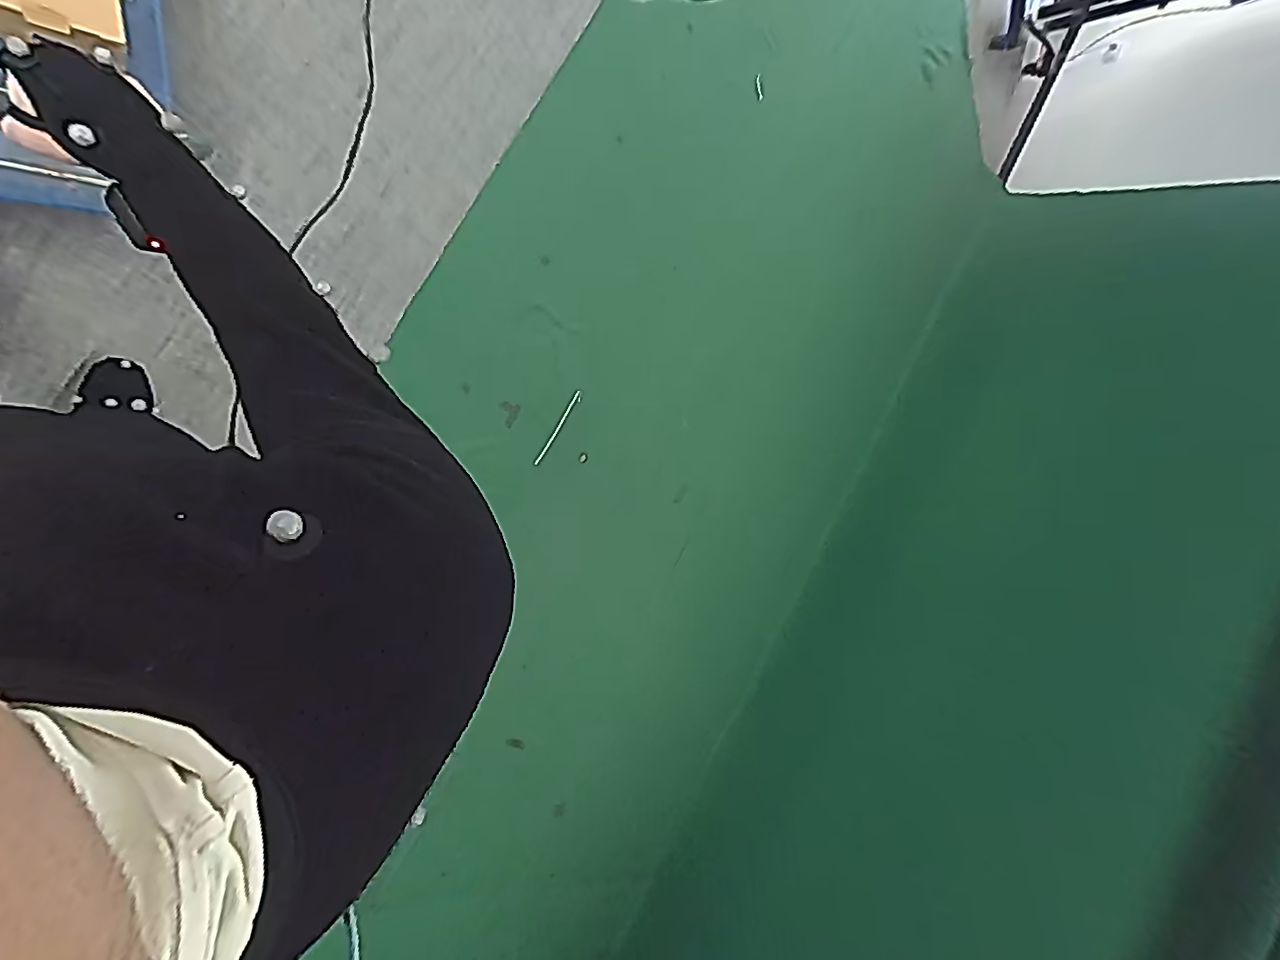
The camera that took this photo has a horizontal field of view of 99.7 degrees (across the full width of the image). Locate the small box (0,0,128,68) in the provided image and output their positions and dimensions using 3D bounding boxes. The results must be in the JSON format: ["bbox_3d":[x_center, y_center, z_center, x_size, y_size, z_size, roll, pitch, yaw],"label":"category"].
[{"bbox_3d":[-0.881,-0.749,0.792,0.168,0.176,0.179,-10,115,-43],"label":"small box"}]
